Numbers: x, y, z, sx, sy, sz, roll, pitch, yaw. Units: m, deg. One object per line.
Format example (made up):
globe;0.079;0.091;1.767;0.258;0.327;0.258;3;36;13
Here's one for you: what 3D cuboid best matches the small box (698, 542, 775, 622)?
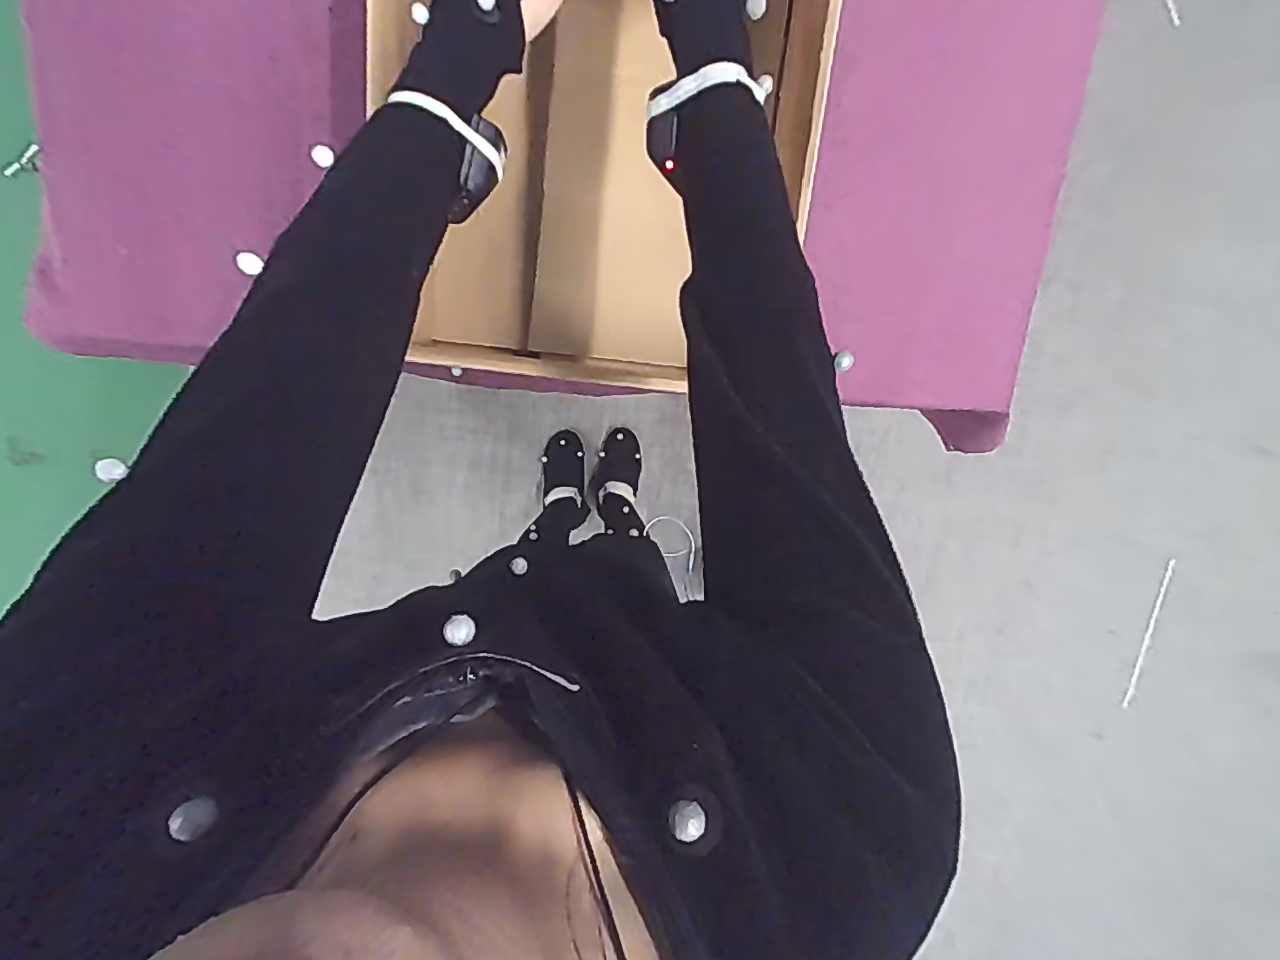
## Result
small box;0.255;0.274;1.473;0.179;0.176;0.168;0;102;-2
